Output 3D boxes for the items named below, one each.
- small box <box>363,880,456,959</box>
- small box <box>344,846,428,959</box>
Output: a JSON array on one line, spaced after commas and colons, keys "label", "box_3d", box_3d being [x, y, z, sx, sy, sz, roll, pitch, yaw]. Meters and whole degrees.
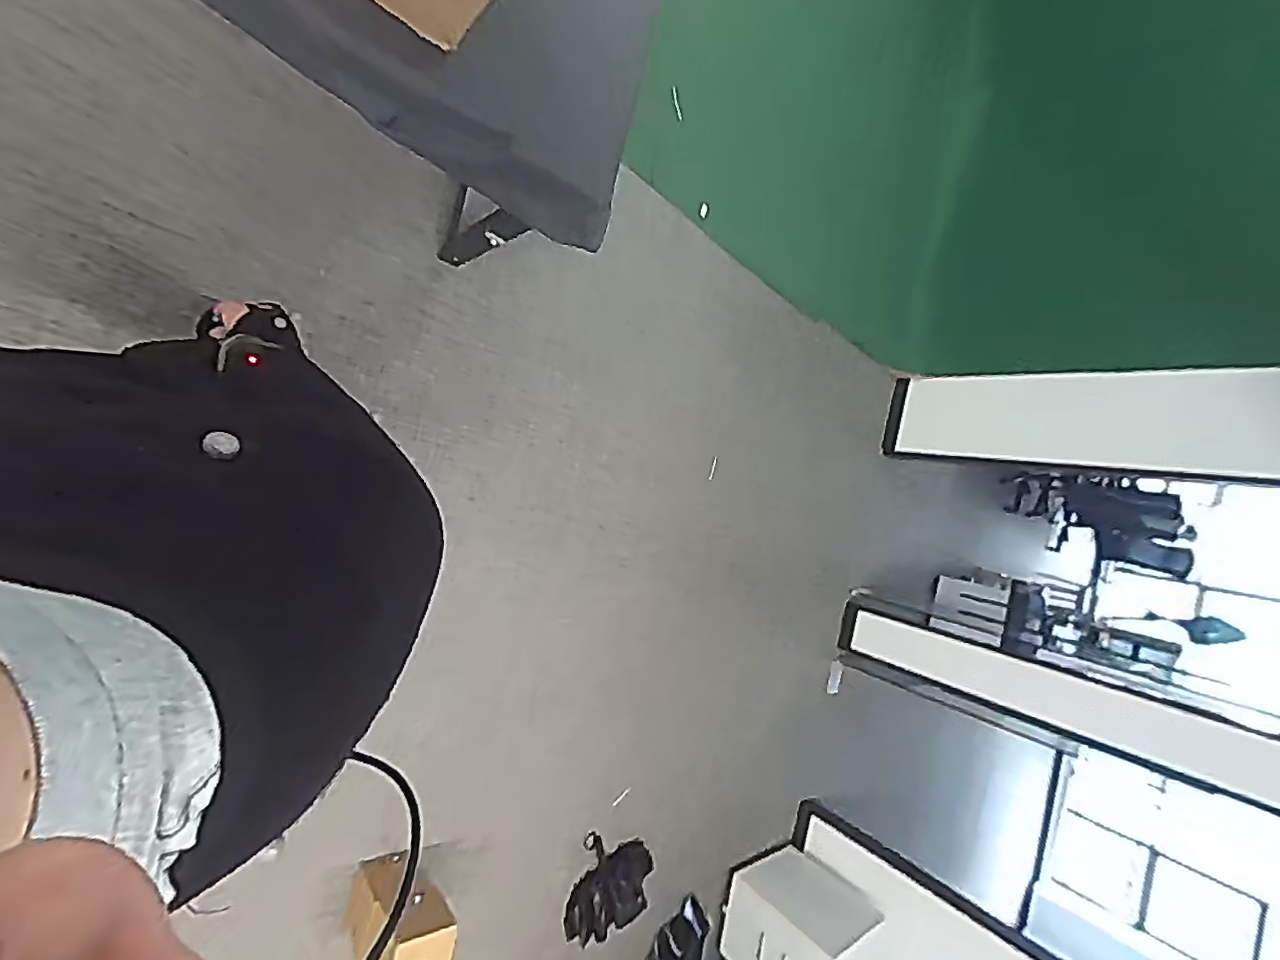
[{"label": "small box", "box_3d": [-0.621, 1.229, 1.445, 0.168, 0.176, 0.179, 16, 85, -42]}, {"label": "small box", "box_3d": [-0.737, 1.212, 1.561, 0.168, 0.176, 0.179, 14, 86, -43]}]
